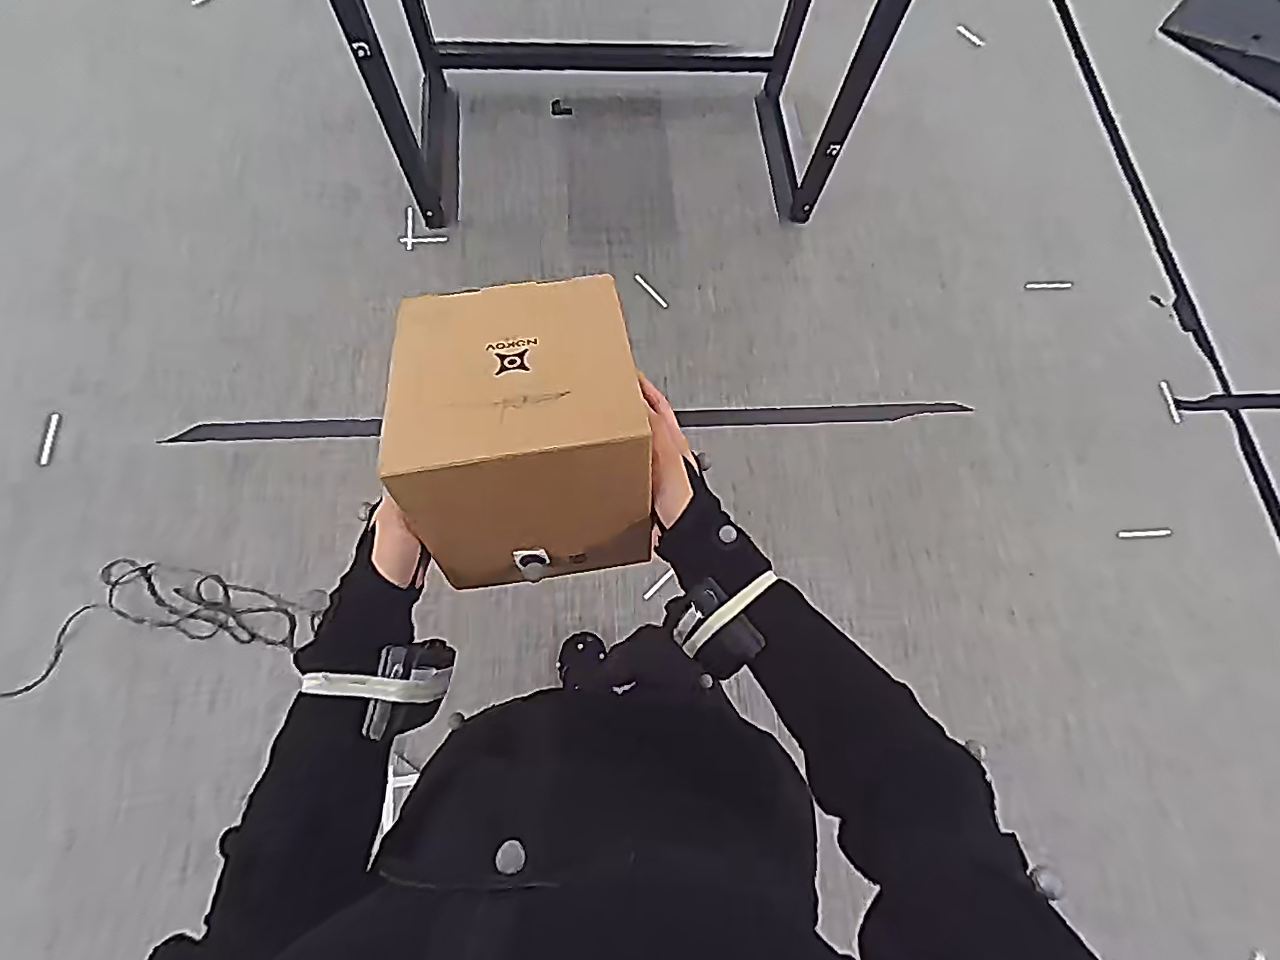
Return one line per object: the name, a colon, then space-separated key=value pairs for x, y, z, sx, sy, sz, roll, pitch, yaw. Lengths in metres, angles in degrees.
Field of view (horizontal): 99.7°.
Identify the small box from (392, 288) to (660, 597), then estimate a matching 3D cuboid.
small box: x=-0.081 y=-0.028 z=0.443 sx=0.168 sy=0.176 sz=0.179 roll=-9 pitch=54 yaw=-5
